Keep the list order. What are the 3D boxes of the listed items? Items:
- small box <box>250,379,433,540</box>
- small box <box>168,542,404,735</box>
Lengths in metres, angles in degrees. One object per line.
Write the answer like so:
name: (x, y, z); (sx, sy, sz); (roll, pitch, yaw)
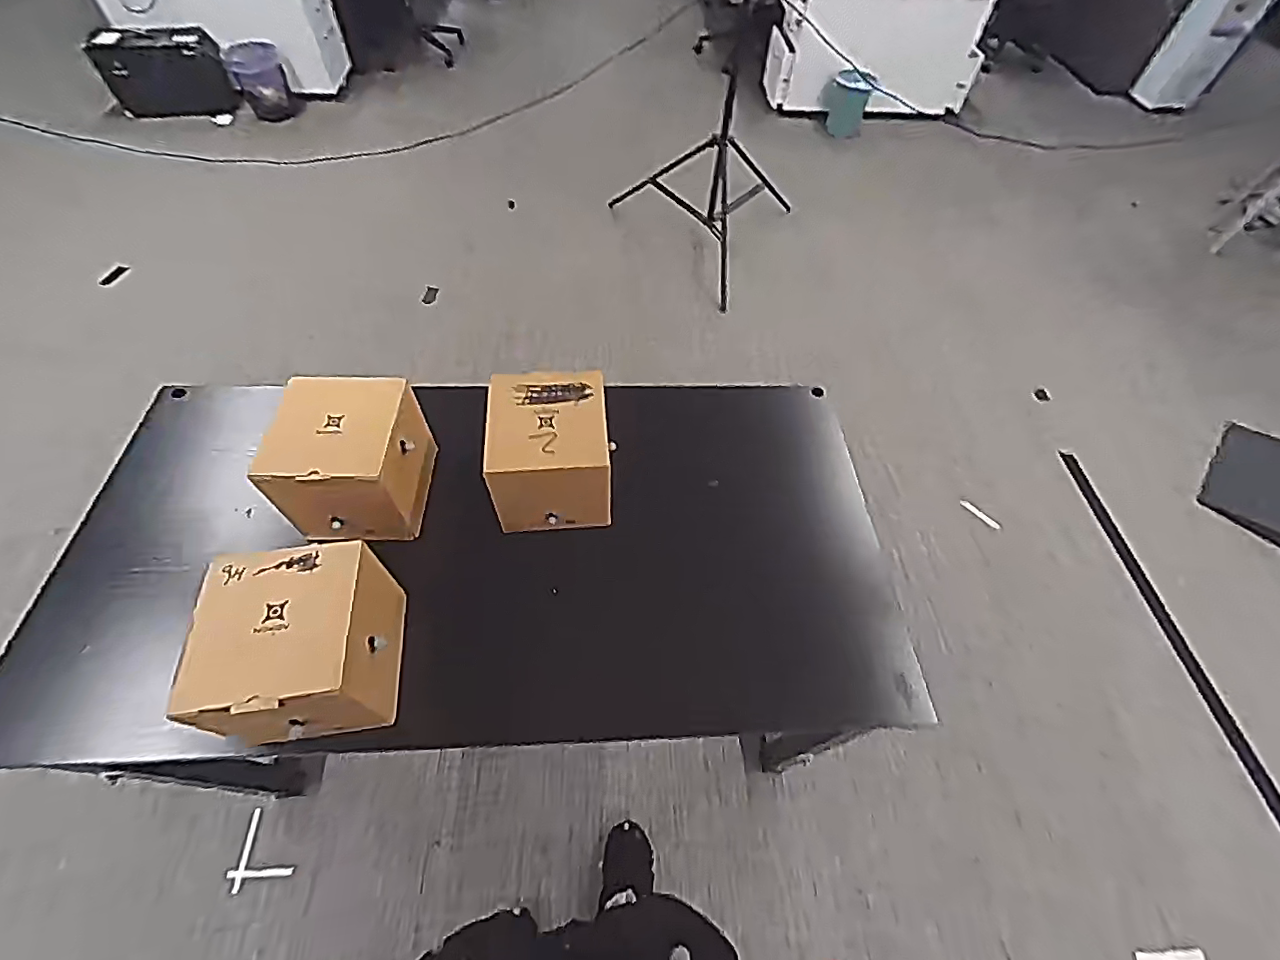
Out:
small box: (-0.418, -0.027, 0.799); (0.168, 0.176, 0.179); (0, 56, -3)
small box: (-0.396, 0.196, 0.646); (0.168, 0.176, 0.179); (-6, 56, -7)
